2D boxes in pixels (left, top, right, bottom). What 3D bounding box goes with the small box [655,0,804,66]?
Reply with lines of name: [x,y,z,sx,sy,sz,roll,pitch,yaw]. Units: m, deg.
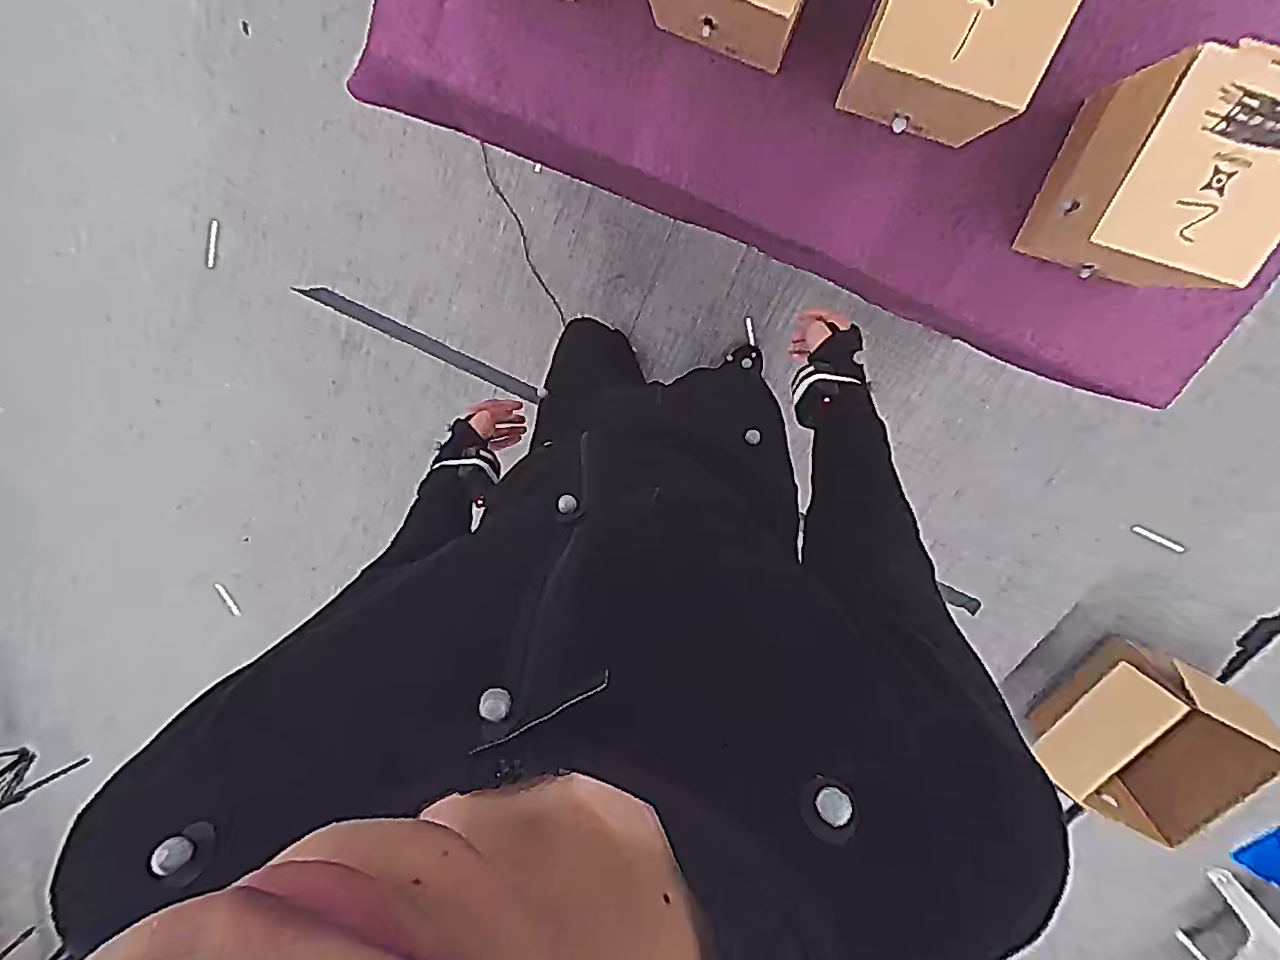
small box: [0.114,-0.590,0.577,0.168,0.176,0.179,23,112,0]

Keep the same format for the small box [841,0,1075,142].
small box: [0.337,-0.498,0.579,0.168,0.176,0.179,20,113,1]
